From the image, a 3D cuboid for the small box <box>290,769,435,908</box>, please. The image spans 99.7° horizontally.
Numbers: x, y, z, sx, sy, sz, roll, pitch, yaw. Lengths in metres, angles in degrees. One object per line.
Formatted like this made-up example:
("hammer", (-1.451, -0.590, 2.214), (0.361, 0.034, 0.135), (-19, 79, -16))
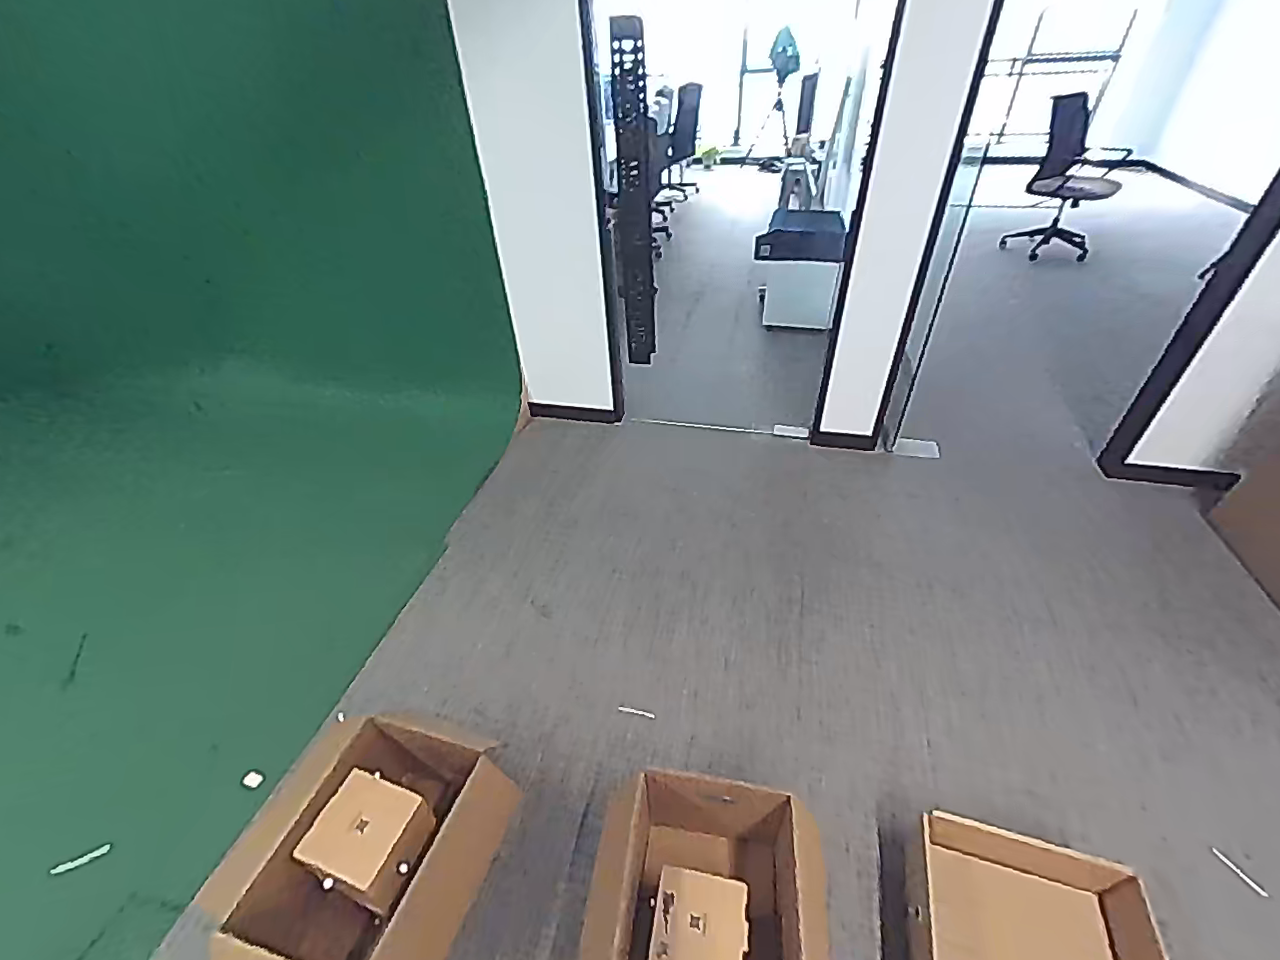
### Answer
("small box", (-0.545, 0.727, 1.093), (0.179, 0.176, 0.168), (12, 40, 15))
